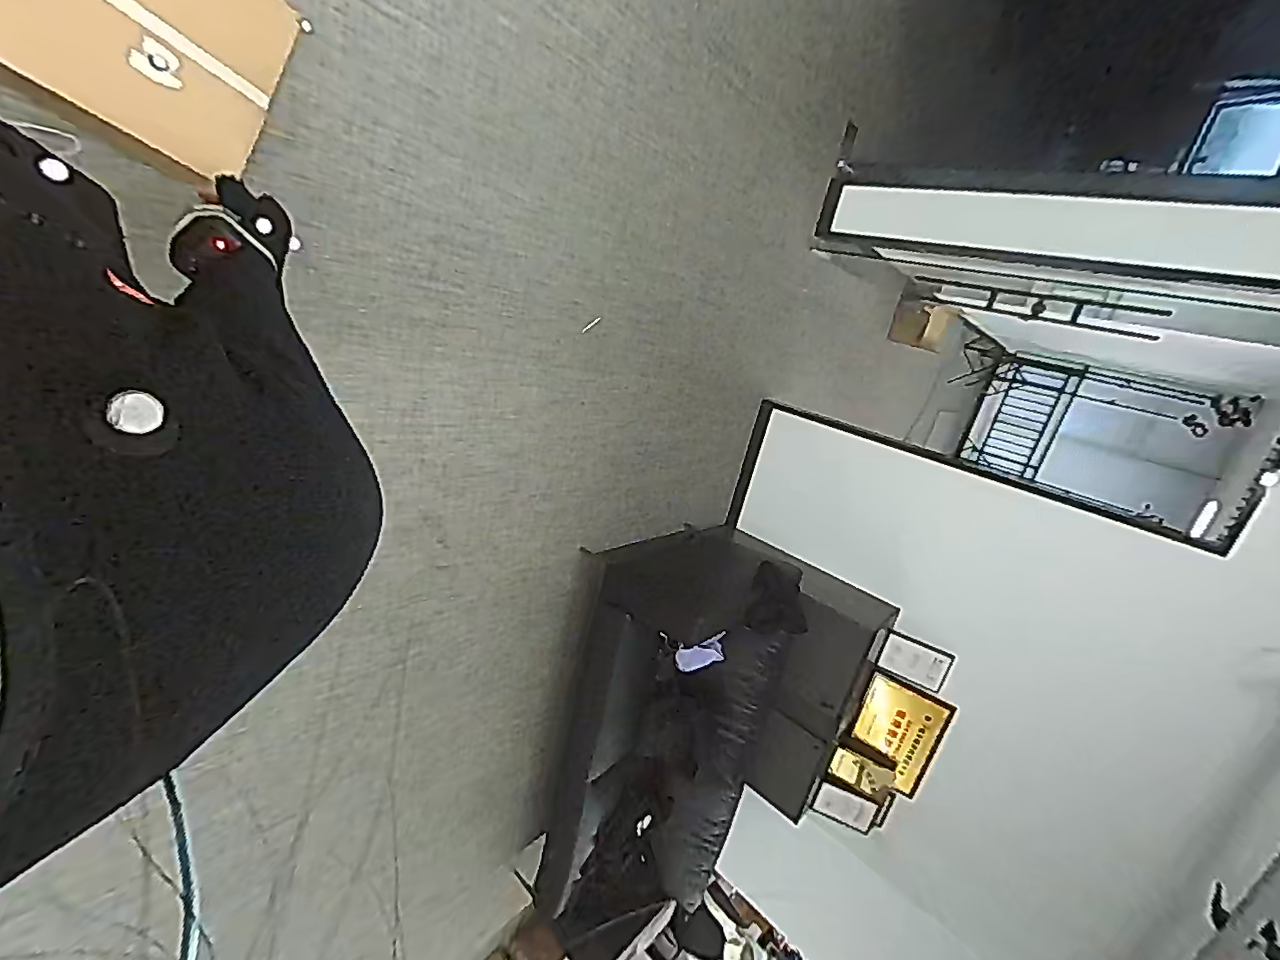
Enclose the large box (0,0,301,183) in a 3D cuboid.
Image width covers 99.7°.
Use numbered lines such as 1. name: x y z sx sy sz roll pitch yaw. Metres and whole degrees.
1. large box: -0.842 -0.728 0.828 0.408 0.320 0.320 20 95 -56
